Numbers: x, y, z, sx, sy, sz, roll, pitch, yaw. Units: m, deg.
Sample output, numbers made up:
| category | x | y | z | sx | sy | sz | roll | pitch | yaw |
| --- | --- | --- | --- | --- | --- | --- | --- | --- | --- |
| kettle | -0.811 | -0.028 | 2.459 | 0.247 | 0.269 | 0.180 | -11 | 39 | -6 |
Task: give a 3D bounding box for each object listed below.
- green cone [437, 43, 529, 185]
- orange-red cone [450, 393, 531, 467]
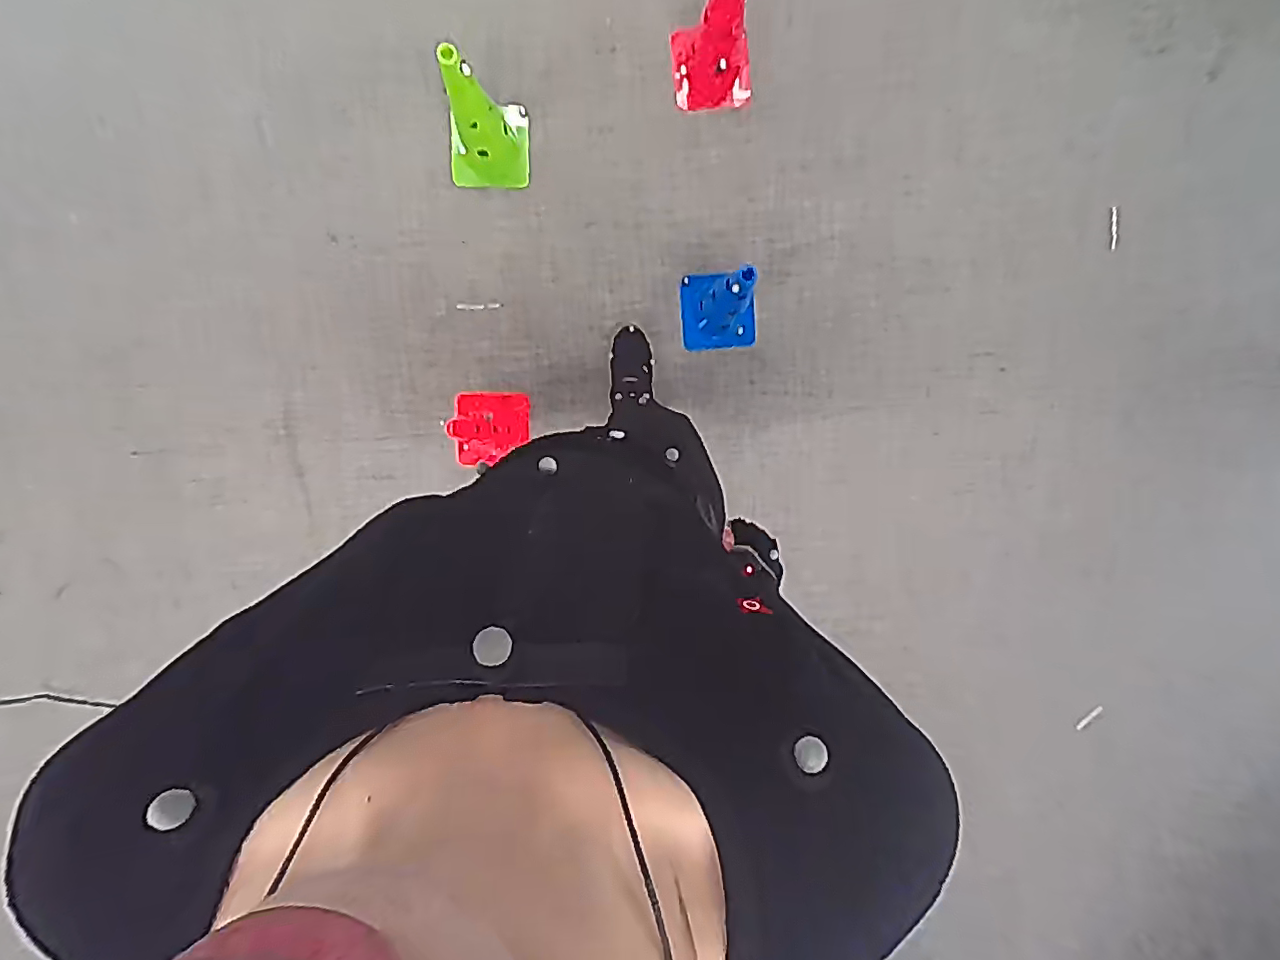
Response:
| category | x | y | z | sx | sy | sz | roll | pitch | yaw |
| --- | --- | --- | --- | --- | --- | --- | --- | --- | --- |
| green cone | -0.385 | -0.852 | 1.226 | 0.200 | 0.368 | 0.202 | -1 | 96 | -1 |
| orange-red cone | -0.387 | -0.124 | 1.295 | 0.198 | 0.360 | 0.199 | 1 | 94 | -3 |
